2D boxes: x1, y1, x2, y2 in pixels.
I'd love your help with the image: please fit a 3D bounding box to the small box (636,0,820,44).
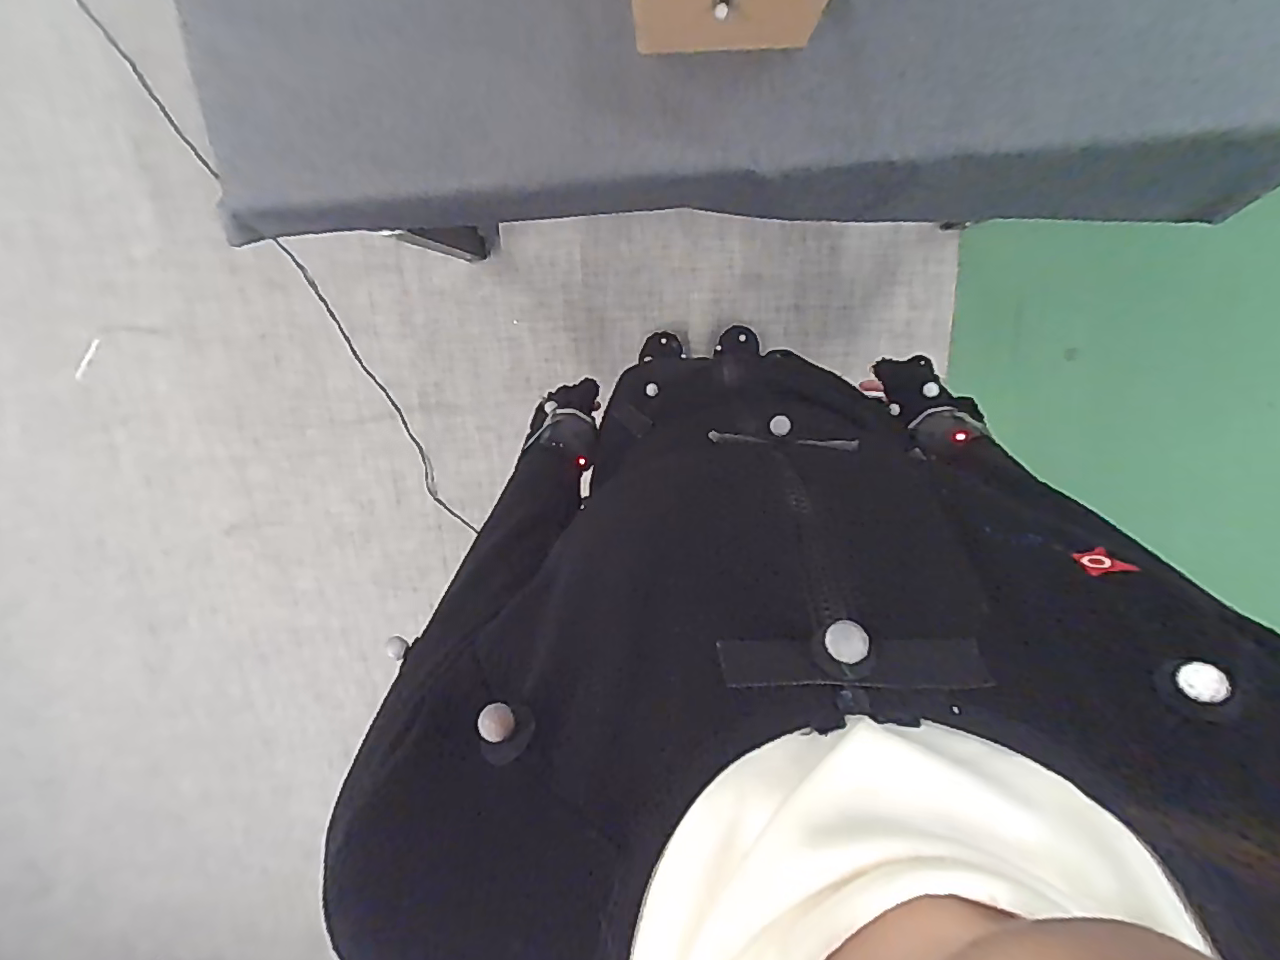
[{"bbox_3d":[0.083,-0.507,0.459,0.179,0.176,0.168,0,106,4],"label":"small box"}]
